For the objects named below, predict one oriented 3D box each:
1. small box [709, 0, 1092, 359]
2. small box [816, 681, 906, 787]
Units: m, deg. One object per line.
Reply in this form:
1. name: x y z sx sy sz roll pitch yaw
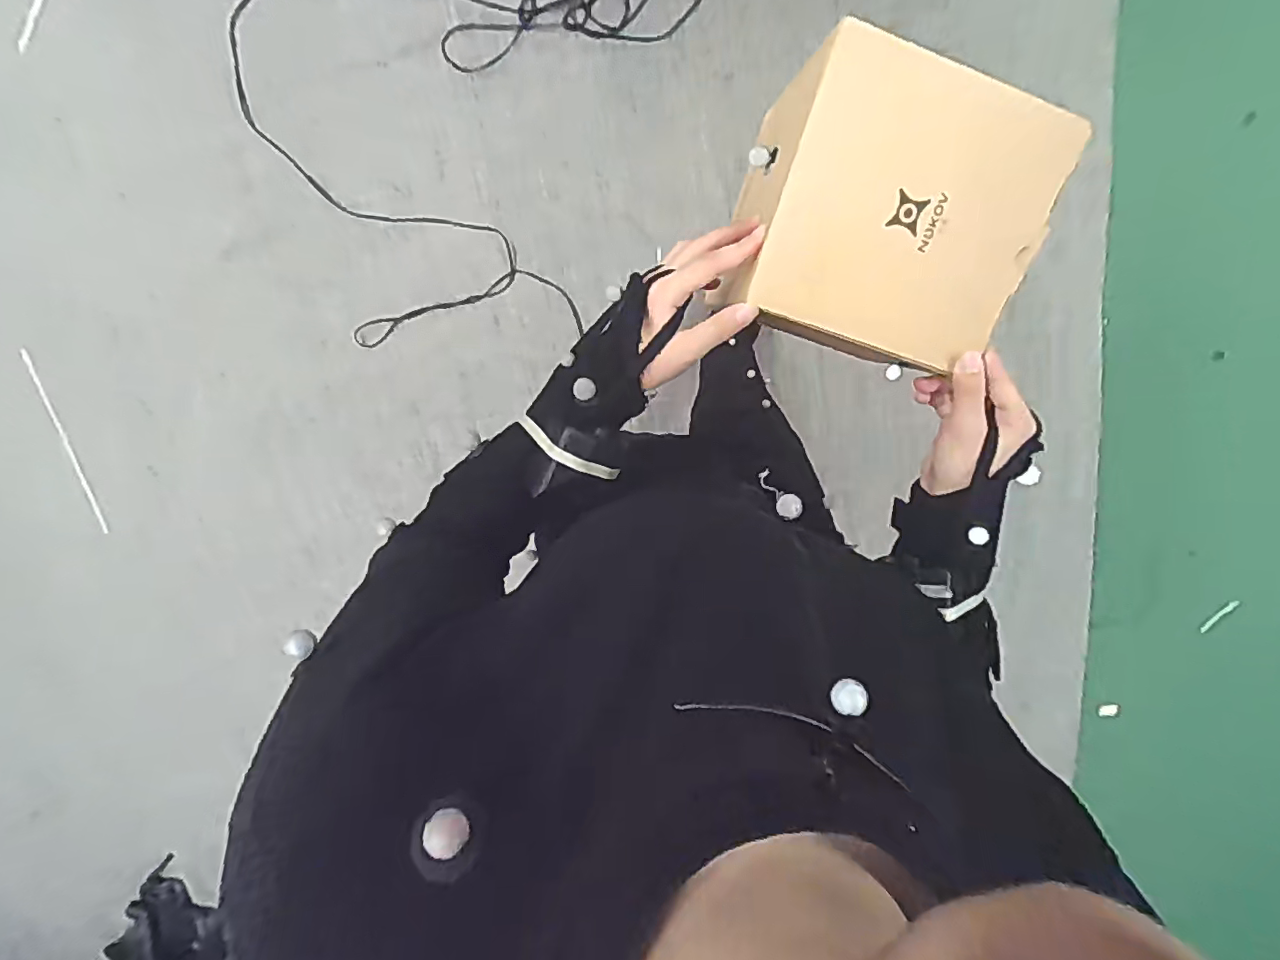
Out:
1. small box: 0.167 -0.202 0.416 0.179 0.176 0.168 15 107 -8
2. small box: 0.573 0.660 1.417 0.168 0.176 0.179 -11 103 2
